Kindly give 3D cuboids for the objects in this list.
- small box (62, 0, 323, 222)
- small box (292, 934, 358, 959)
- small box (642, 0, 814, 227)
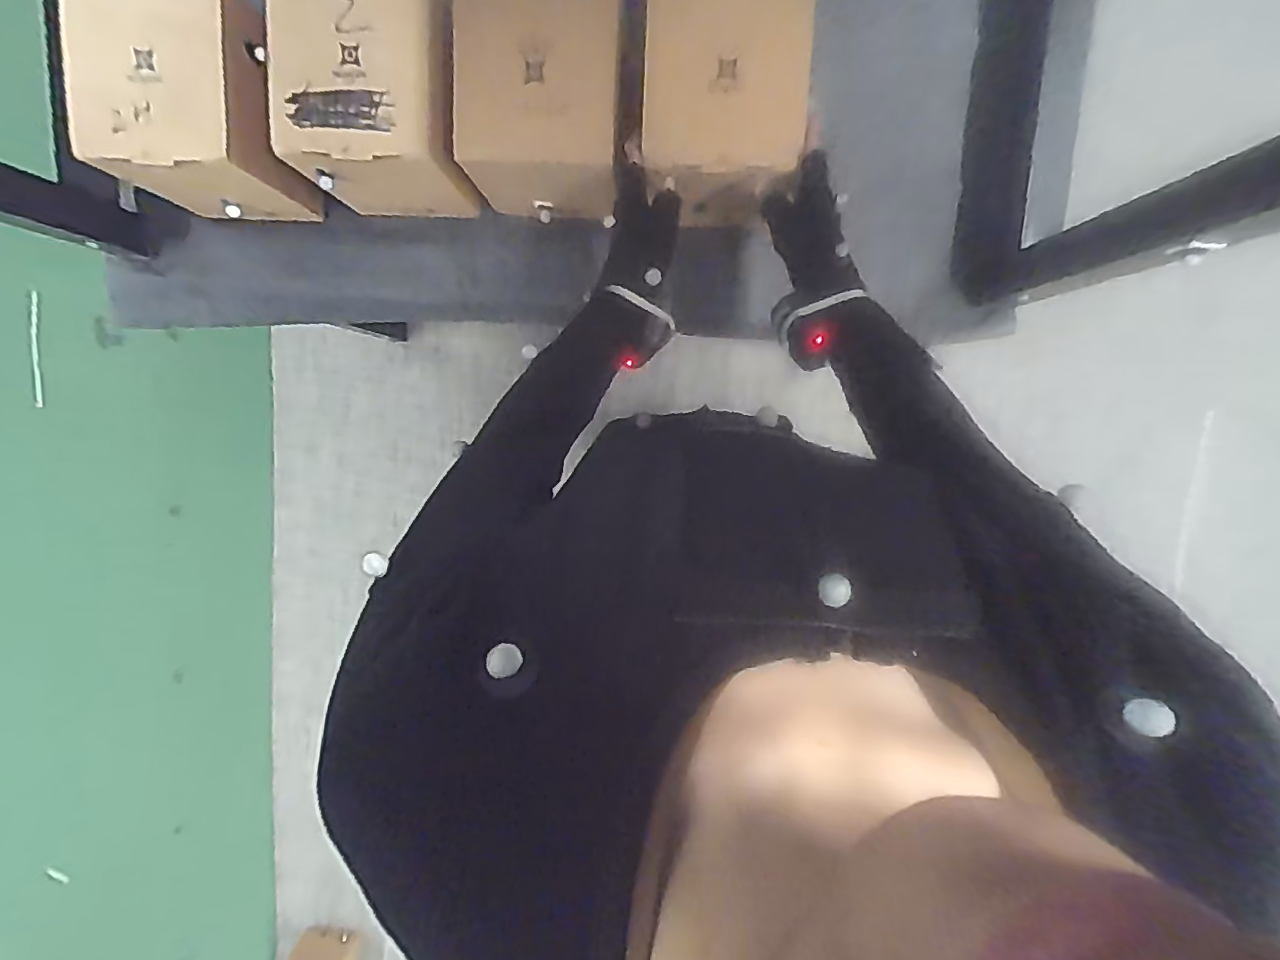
[{"bbox_3d":[-0.494,-0.423,0.624,0.168,0.176,0.179,2,97,1],"label":"small box"},{"bbox_3d":[-0.961,1.503,1.604,0.168,0.176,0.179,6,98,1],"label":"small box"},{"bbox_3d":[0.088,-0.411,0.616,0.168,0.176,0.179,2,97,2],"label":"small box"}]
